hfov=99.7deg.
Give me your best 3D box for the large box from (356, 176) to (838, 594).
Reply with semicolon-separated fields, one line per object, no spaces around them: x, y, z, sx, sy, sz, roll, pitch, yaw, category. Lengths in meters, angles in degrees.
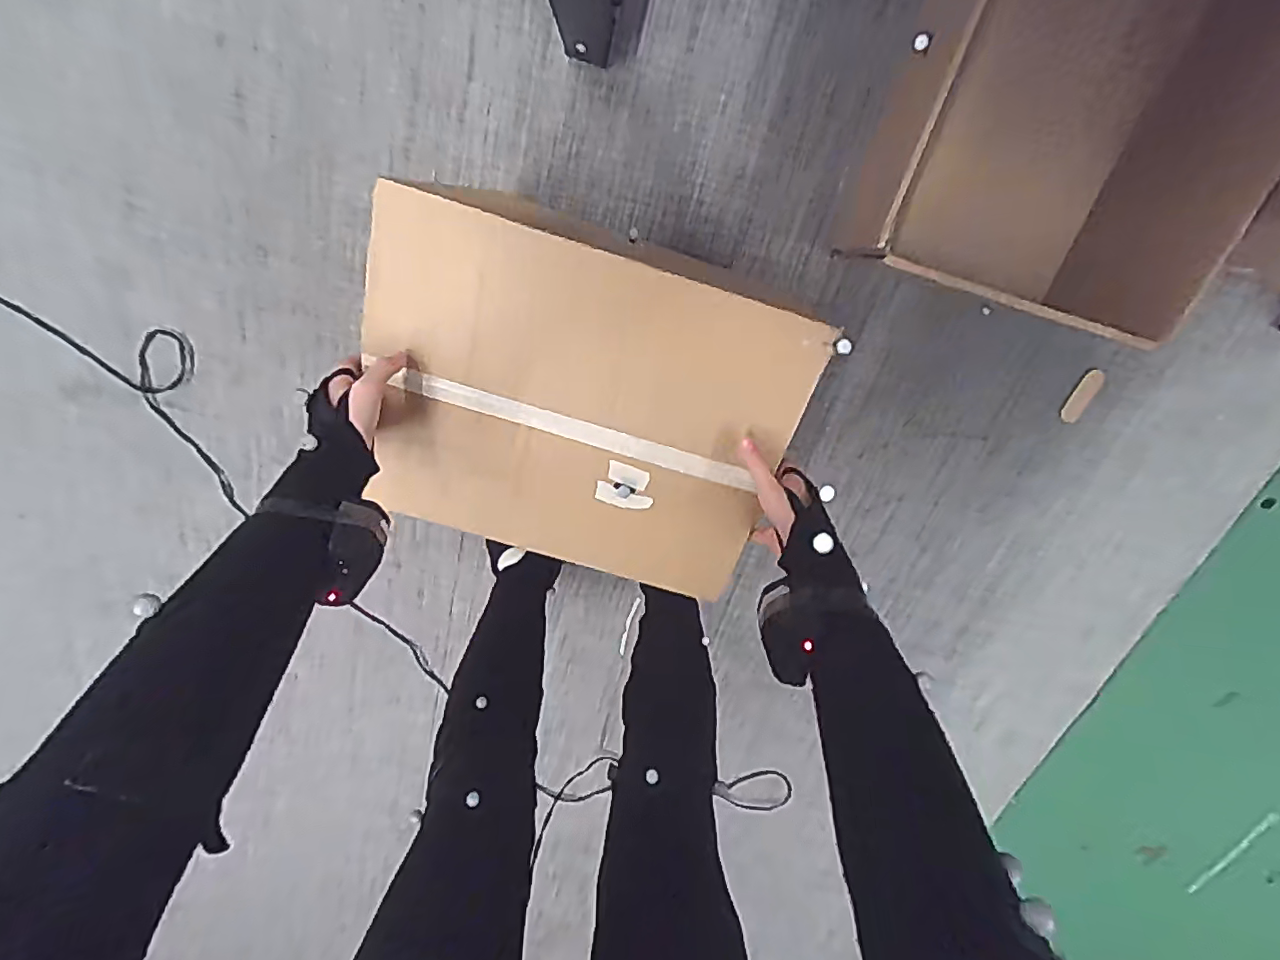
-0.055;-0.123;0.643;0.408;0.320;0.320;17;116;-5;large box
